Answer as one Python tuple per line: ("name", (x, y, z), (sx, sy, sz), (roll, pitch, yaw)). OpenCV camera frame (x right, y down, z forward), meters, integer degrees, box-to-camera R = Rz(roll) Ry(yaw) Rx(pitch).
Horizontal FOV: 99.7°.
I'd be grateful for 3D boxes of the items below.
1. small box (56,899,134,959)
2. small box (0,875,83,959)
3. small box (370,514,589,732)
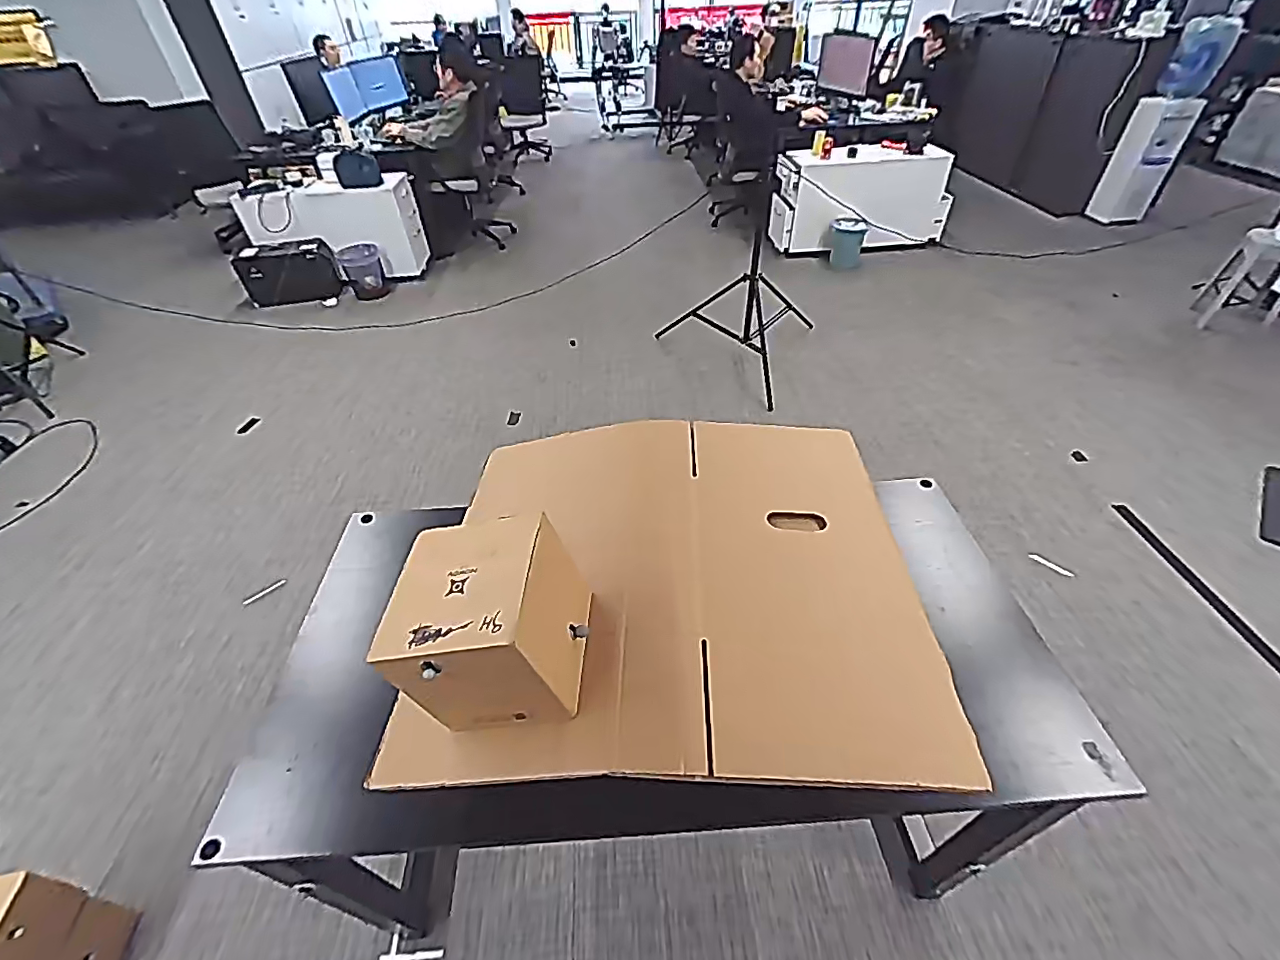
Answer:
("small box", (-1.199, 0.990, 1.101), (0.168, 0.176, 0.179), (-7, 43, -4))
("small box", (-1.206, 0.866, 0.995), (0.168, 0.176, 0.179), (-8, 42, -7))
("small box", (-0.167, 0.169, 0.634), (0.168, 0.176, 0.179), (-11, 40, 13))
